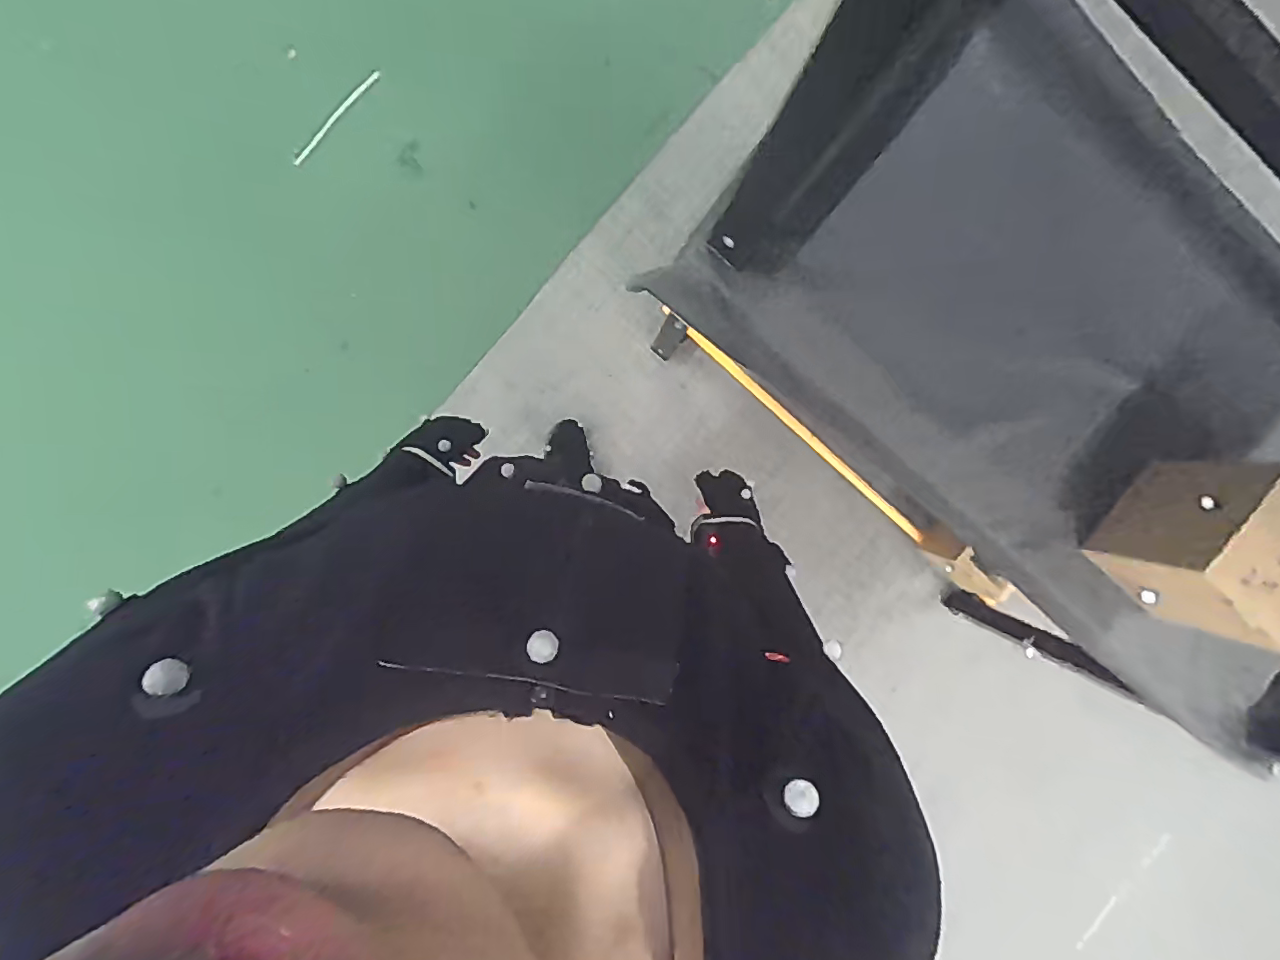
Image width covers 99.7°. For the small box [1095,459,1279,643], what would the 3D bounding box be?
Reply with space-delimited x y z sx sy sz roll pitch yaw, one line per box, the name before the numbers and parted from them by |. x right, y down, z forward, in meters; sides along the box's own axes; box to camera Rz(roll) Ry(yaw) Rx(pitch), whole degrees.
small box | 0.782 0.083 0.727 0.168 0.176 0.179 40 89 -5
